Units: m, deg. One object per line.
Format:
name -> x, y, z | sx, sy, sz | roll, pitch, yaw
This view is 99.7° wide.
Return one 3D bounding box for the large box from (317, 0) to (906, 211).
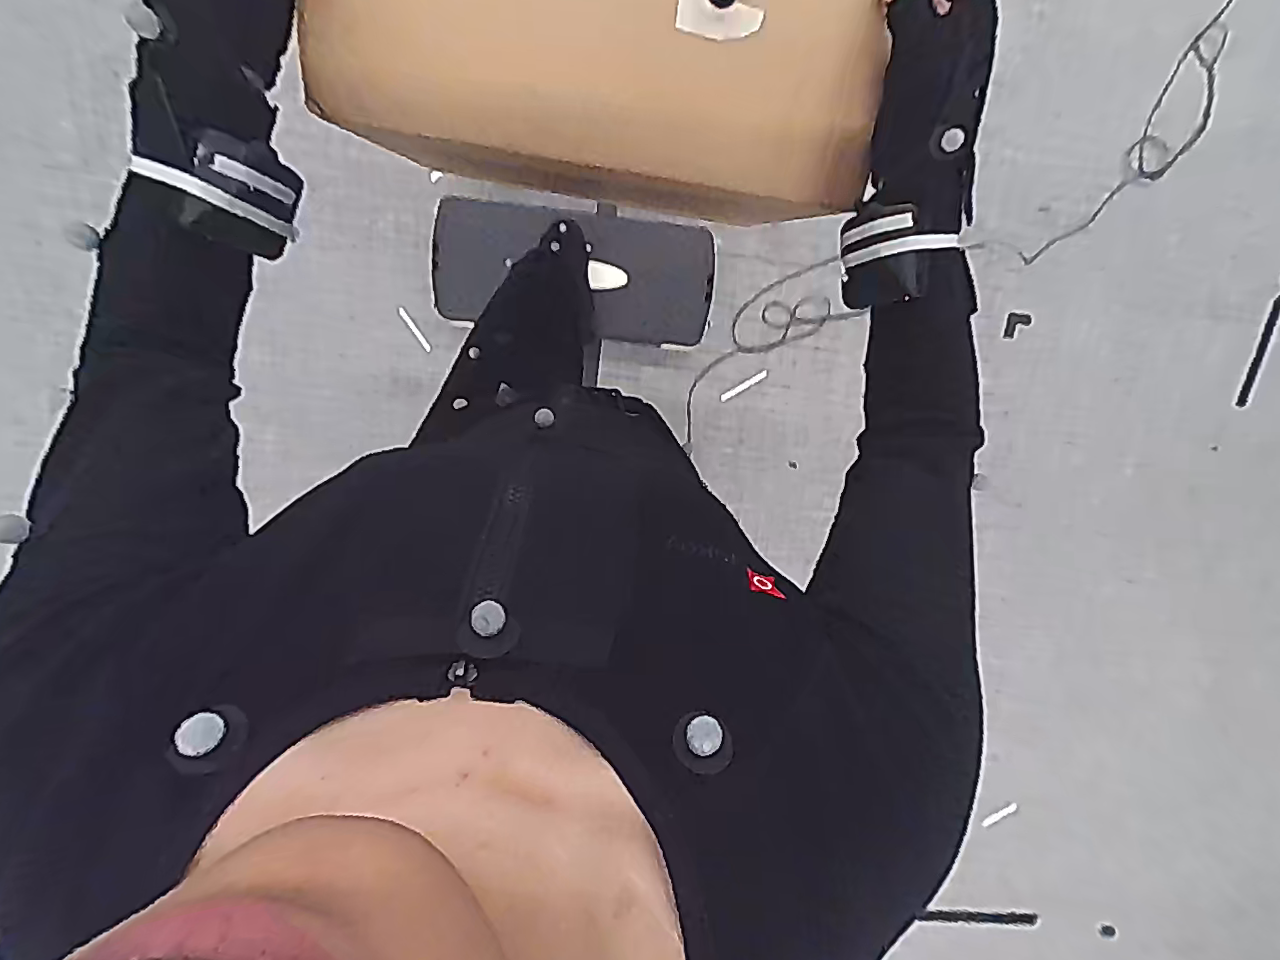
large box -> -0.019, -0.442, 0.478 | 0.408, 0.320, 0.320 | 5, 113, -8
